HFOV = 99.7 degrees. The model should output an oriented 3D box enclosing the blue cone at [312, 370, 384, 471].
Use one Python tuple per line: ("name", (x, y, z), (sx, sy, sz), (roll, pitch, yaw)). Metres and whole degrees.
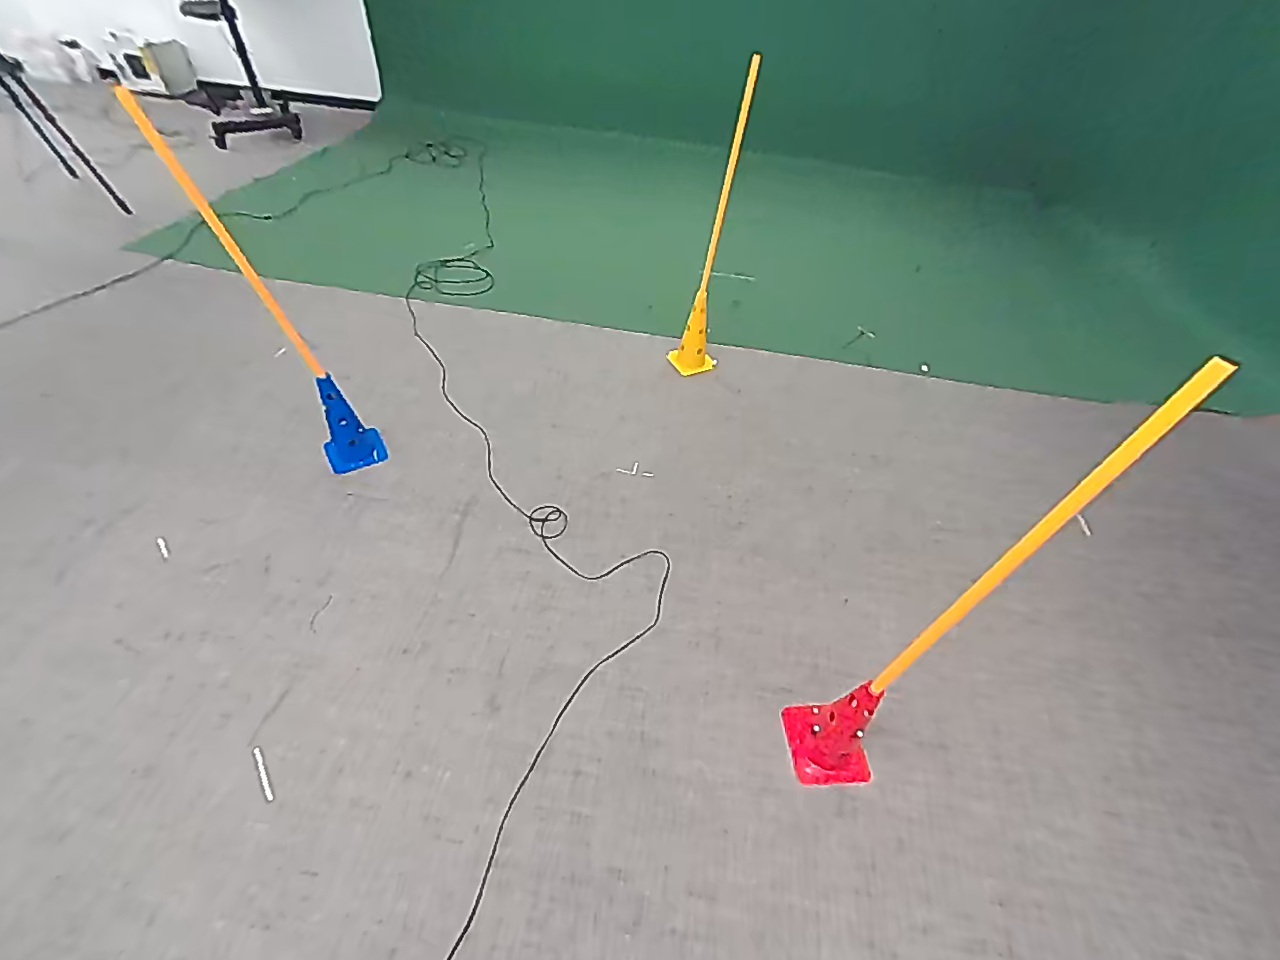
("blue cone", (-1.075, -0.226, 1.925), (0.193, 0.380, 0.192), (-26, 55, -24))
